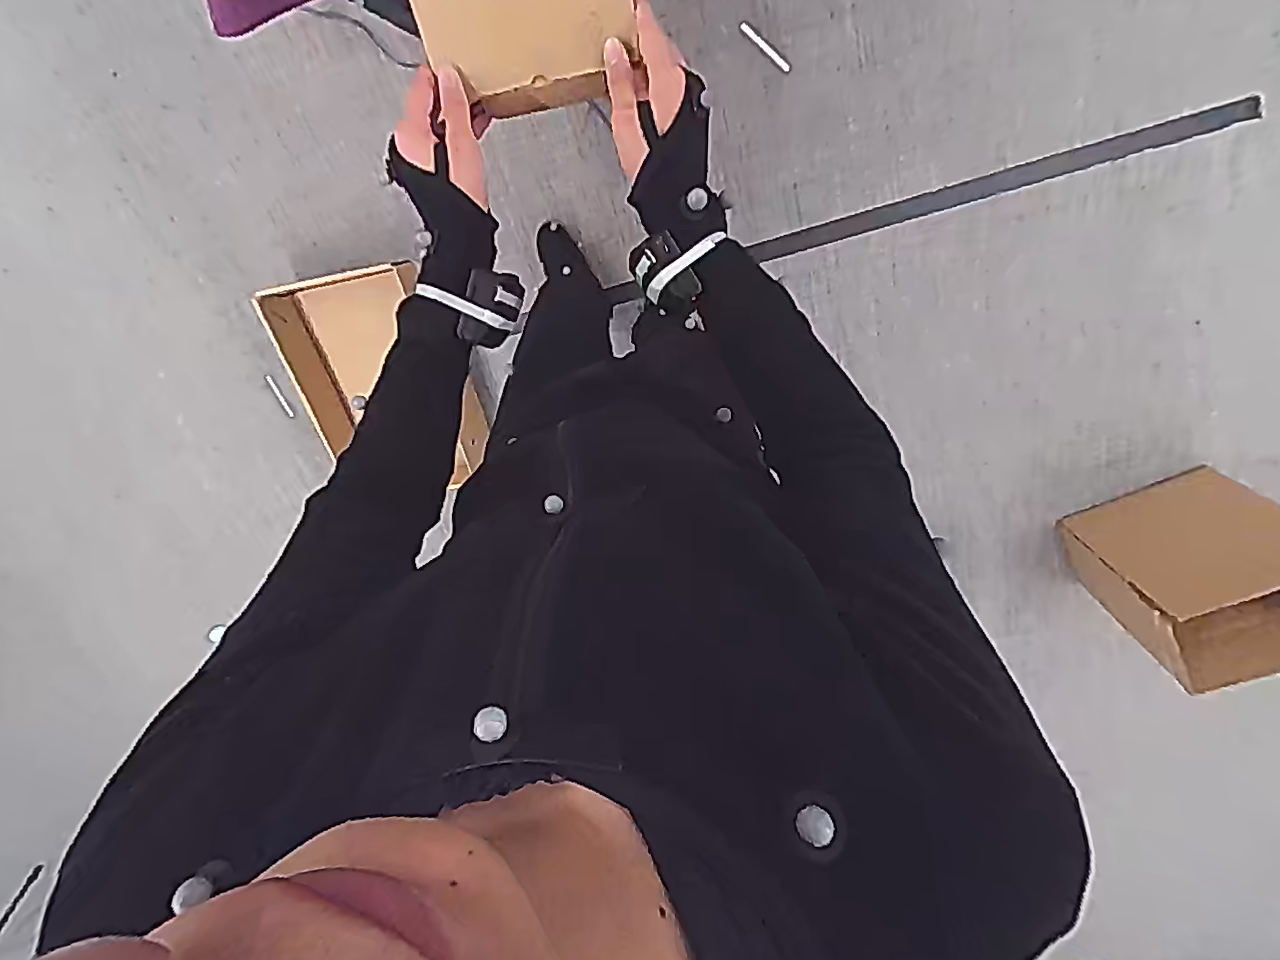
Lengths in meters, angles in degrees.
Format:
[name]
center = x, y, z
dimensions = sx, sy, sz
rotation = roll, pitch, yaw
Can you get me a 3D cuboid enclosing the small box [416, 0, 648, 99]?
[small box]
center = -0.085, -0.429, 0.431
dimensions = 0.168, 0.176, 0.179
rotation = -7, 128, 6
